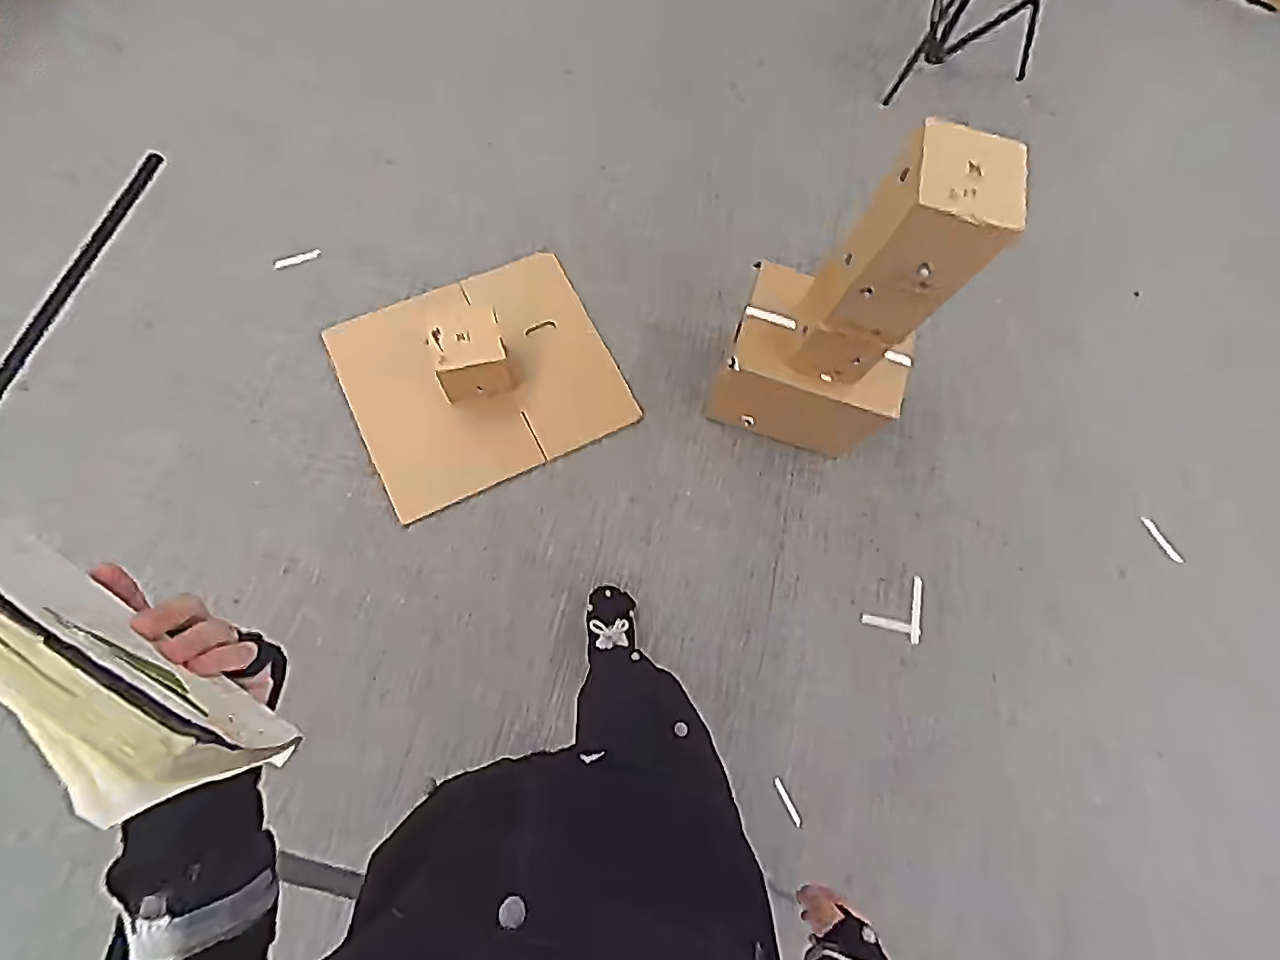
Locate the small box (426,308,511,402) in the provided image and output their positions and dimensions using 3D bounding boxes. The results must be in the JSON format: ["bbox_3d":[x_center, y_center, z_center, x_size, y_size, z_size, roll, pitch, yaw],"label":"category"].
[{"bbox_3d":[-0.440,-0.321,1.410,0.179,0.176,0.168,-13,75,-12],"label":"small box"}]

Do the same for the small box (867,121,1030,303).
[{"bbox_3d":[0.490,-0.425,0.877,0.168,0.176,0.179,15,73,-1],"label":"small box"}]

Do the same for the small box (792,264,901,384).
[{"bbox_3d":[0.447,-0.334,1.191,0.168,0.176,0.179,13,72,-3],"label":"small box"}]
